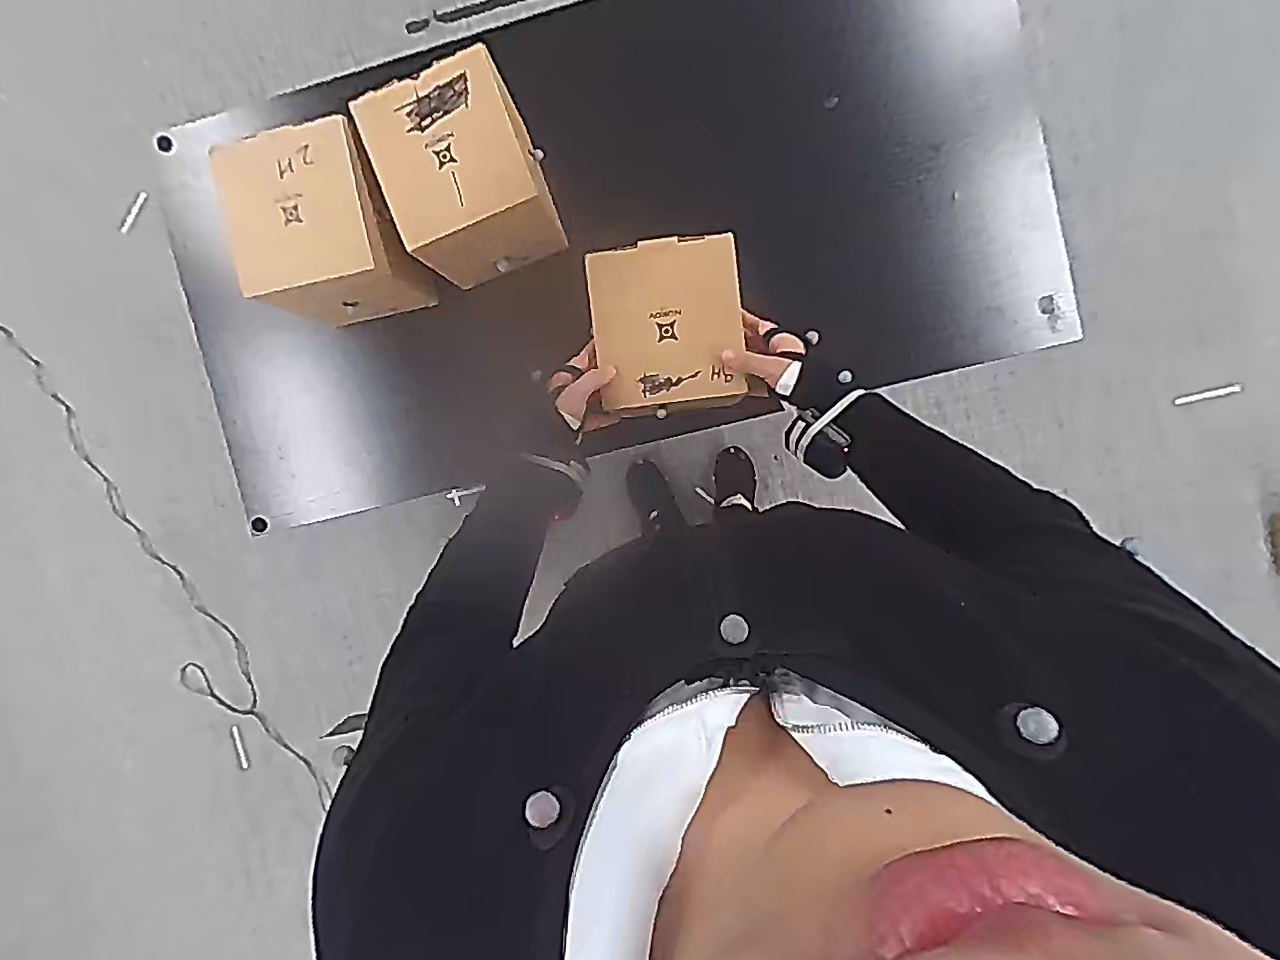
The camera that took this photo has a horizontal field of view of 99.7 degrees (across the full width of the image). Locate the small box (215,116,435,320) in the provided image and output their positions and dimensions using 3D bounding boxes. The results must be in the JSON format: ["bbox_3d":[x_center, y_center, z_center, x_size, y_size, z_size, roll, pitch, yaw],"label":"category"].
[{"bbox_3d":[-0.388,-0.317,0.699,0.168,0.176,0.179,-11,93,5],"label":"small box"}]

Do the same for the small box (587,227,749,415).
[{"bbox_3d":[0.037,-0.182,0.671,0.168,0.176,0.179,-7,92,6],"label":"small box"}]
